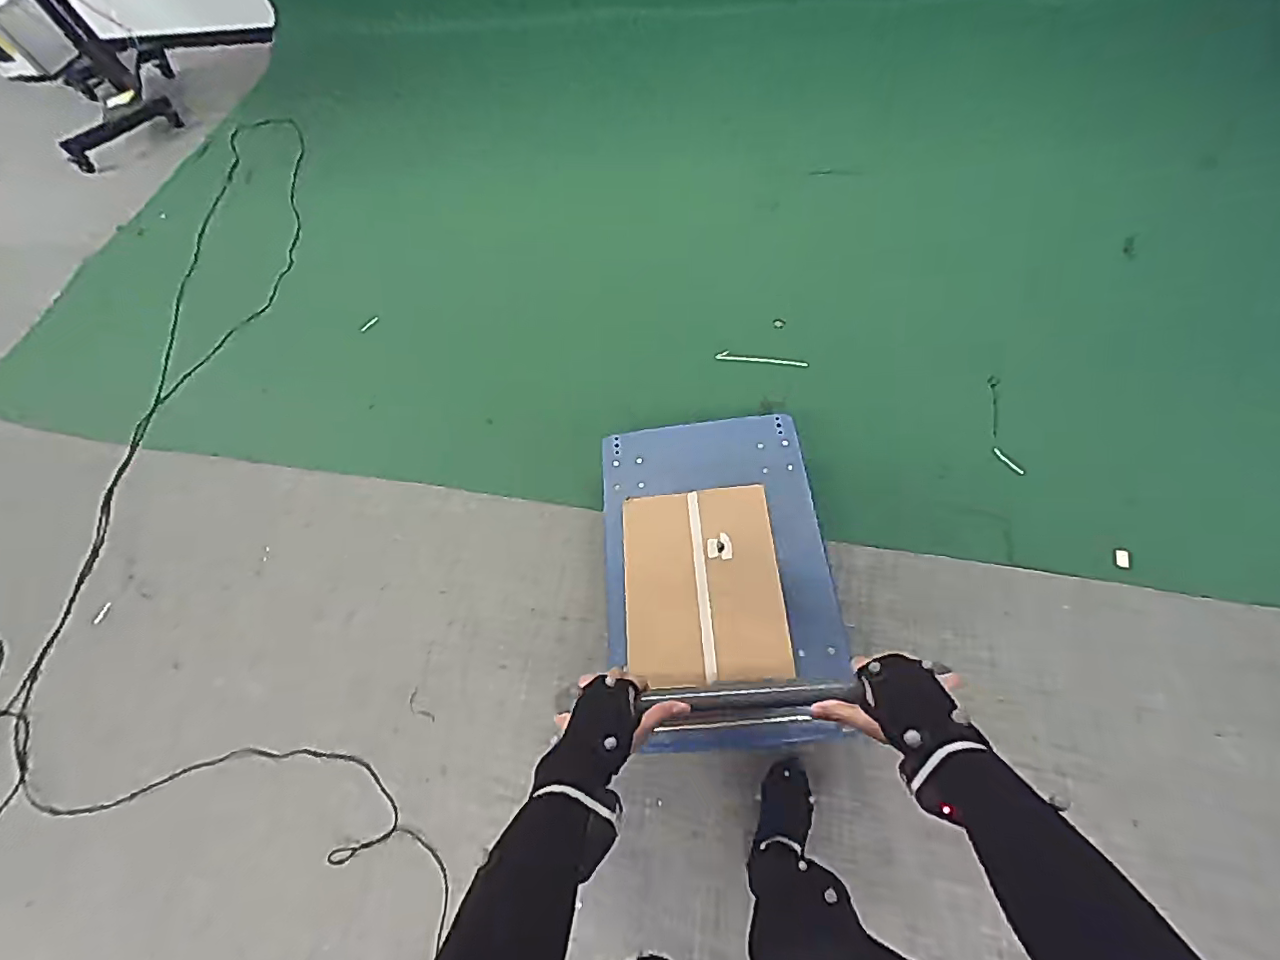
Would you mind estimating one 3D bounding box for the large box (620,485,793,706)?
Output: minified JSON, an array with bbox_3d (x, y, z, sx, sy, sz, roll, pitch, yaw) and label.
[{"bbox_3d":[0.142,0.272,1.233,0.320,0.320,0.408,-7,61,5],"label":"large box"}]
